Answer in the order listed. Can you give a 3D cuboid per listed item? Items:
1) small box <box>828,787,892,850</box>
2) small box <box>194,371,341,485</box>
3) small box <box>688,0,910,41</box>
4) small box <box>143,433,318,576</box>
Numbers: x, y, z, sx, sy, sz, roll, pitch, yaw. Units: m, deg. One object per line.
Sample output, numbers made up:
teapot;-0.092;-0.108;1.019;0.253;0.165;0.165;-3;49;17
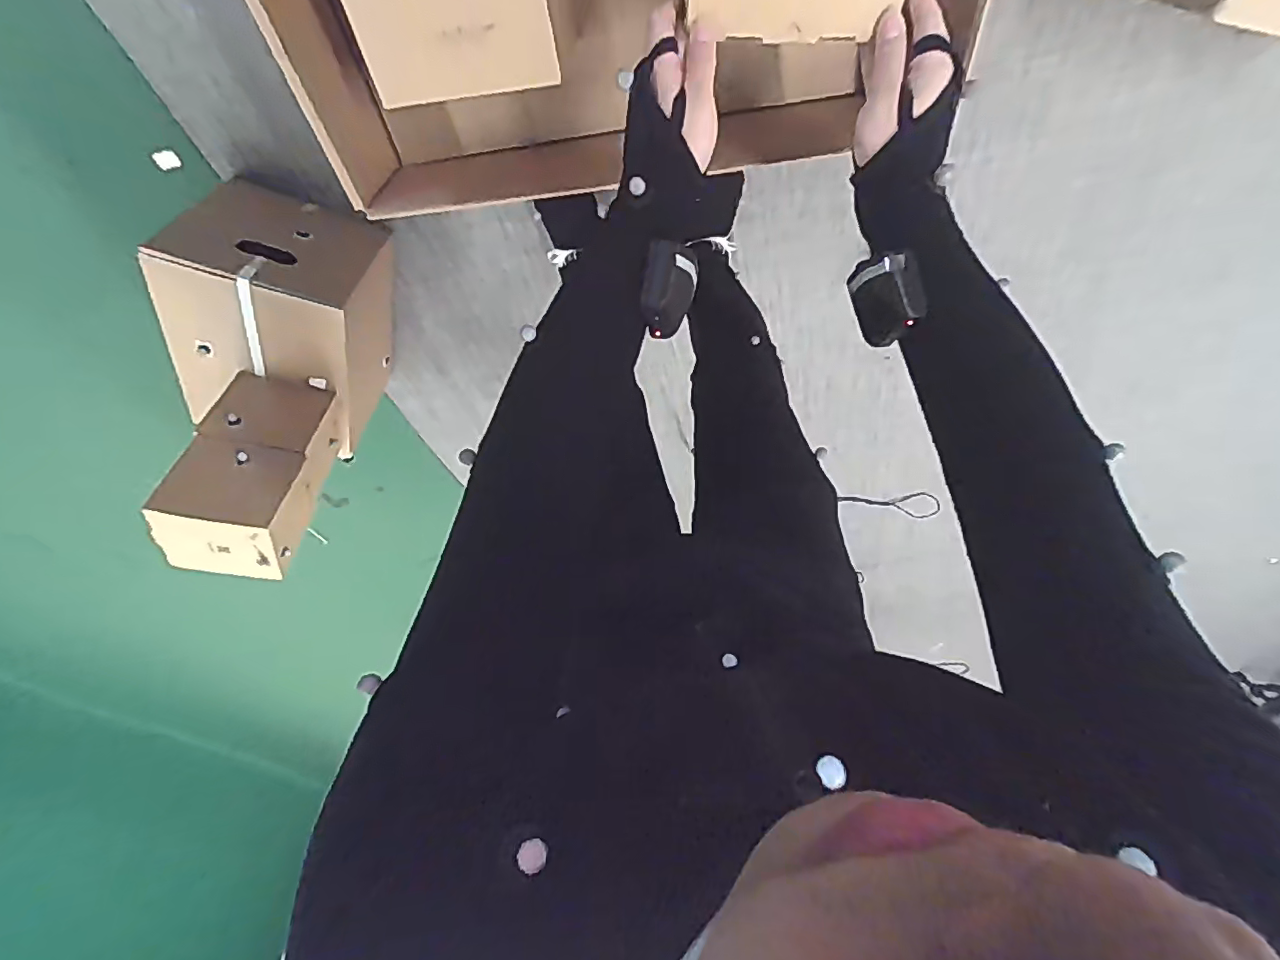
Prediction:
small box;0.751;1.164;1.864;0.168;0.176;0.179;-8;141;10
small box;-0.703;-0.086;1.043;0.179;0.176;0.168;12;138;-16
small box;0.120;-0.462;0.407;0.168;0.176;0.179;-1;142;-2
small box;-0.692;0.040;0.939;0.179;0.176;0.168;13;137;-15
